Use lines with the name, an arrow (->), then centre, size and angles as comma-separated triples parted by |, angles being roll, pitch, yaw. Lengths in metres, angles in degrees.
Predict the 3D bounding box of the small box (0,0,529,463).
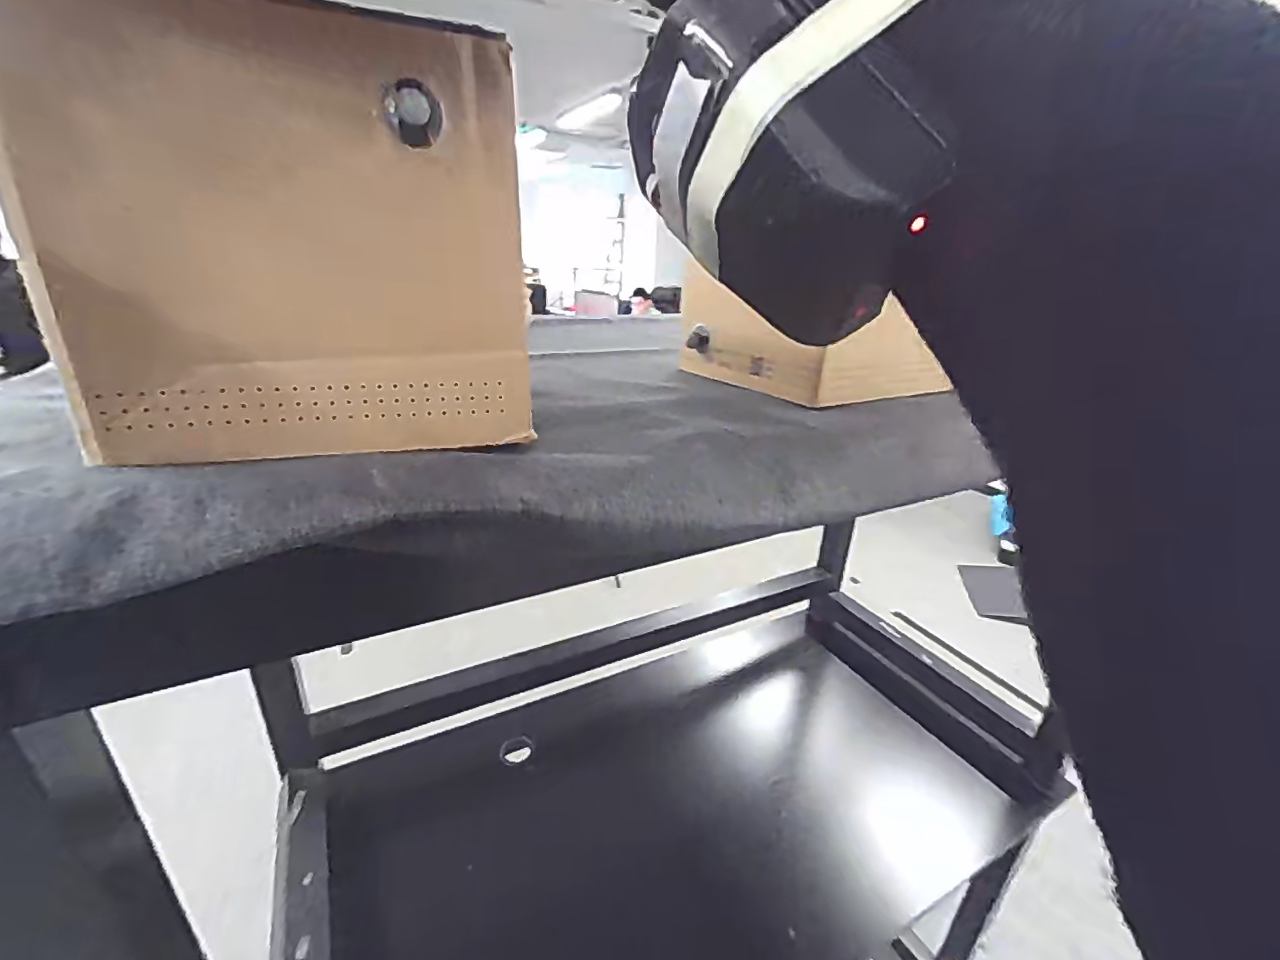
small box -> -0.160, -0.111, 0.285 | 0.179, 0.176, 0.168 | -5, 21, -19

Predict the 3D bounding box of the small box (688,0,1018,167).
small box -> 0.149, -0.319, 0.397 | 0.179, 0.176, 0.168 | -15, 26, -34

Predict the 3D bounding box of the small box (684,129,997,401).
small box -> 0.150, -0.165, 0.449 | 0.179, 0.176, 0.168 | -10, 24, -30
